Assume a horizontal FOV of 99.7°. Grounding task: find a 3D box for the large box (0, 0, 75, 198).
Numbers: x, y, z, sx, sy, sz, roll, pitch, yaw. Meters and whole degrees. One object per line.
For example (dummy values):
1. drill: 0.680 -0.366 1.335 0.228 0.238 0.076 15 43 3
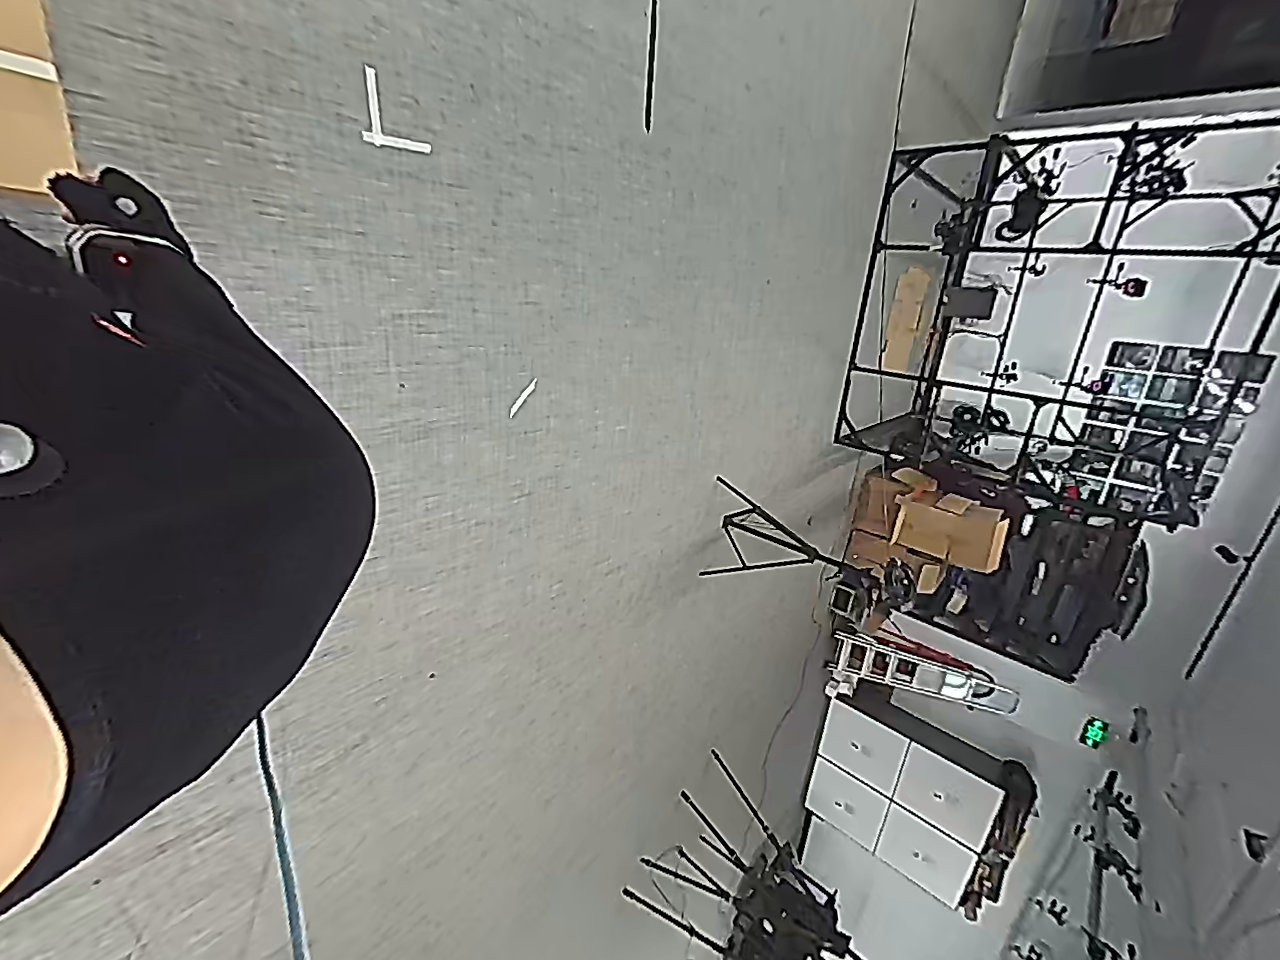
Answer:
1. large box: -1.067 -0.572 0.695 0.408 0.320 0.320 -17 119 -48
